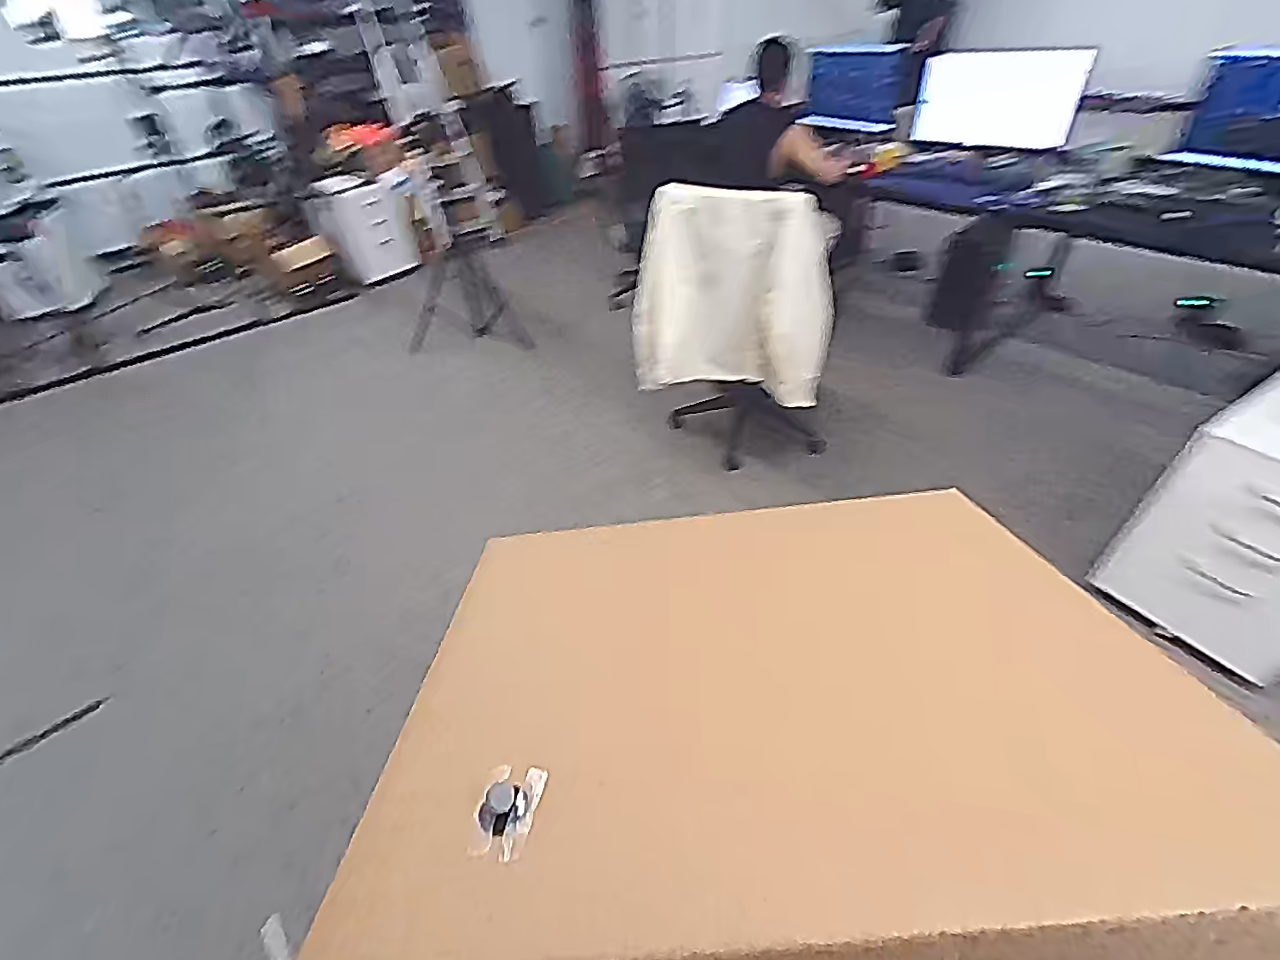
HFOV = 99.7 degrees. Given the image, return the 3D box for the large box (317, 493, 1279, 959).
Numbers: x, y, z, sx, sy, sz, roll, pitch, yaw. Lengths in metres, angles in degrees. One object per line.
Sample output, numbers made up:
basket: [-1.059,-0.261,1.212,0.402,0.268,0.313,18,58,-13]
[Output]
large box: [0.083,0.231,0.396,0.408,0.320,0.320,-8,25,1]
